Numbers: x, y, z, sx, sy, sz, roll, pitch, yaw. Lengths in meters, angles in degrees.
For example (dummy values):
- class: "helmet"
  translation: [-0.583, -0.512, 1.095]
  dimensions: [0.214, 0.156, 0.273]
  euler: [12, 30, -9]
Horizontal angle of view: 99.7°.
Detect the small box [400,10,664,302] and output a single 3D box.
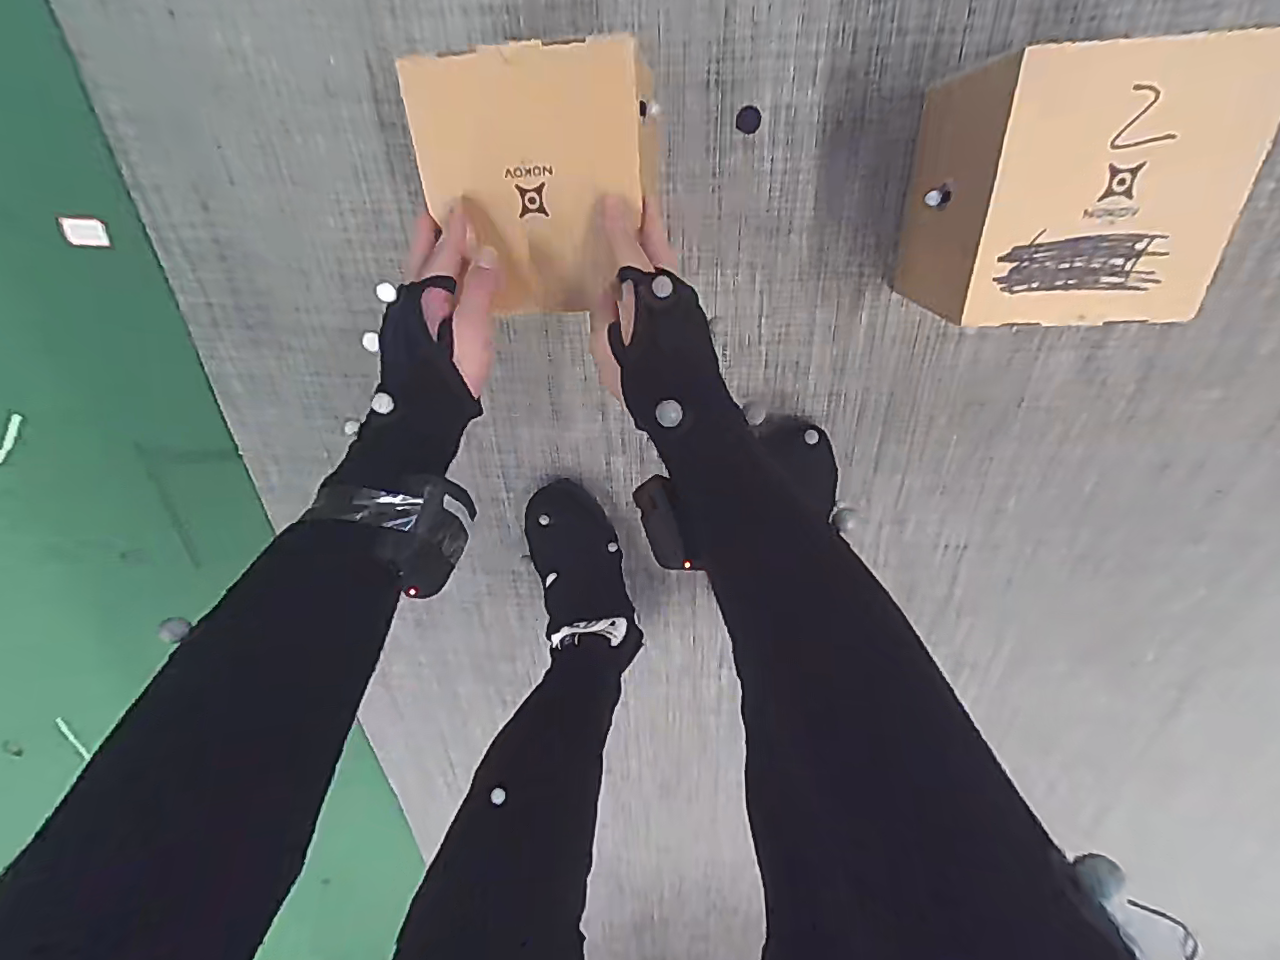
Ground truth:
- class: "small box"
  translation: [-0.067, -0.259, 0.459]
  dimensions: [0.168, 0.176, 0.179]
  euler: [-1, 118, 6]
